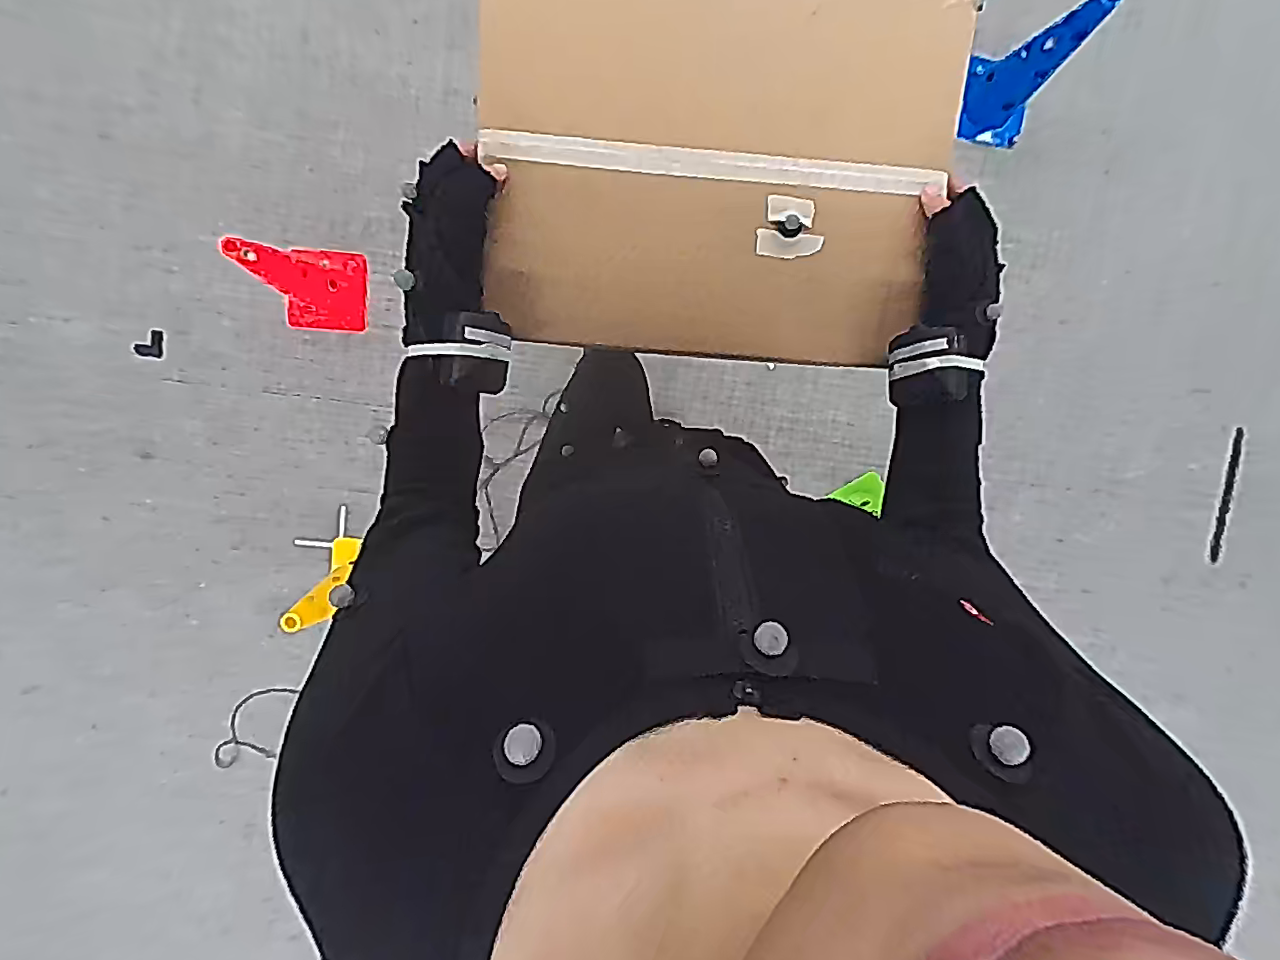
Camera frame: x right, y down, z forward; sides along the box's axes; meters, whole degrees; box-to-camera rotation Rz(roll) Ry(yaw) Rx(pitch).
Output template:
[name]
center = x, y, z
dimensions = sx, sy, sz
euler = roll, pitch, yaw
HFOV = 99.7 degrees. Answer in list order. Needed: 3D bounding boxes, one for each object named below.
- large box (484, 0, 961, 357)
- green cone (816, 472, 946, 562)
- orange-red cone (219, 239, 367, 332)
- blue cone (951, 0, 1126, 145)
[large box]
center = 0.056, -0.310, 0.616
dimensions = 0.408, 0.320, 0.320
euler = 3, 103, -4
[green cone]
center = 0.620, 0.121, 1.330
dimensions = 0.202, 0.368, 0.200
euler = -30, 97, -1
[orange-red cone]
center = -0.797, -0.465, 1.216
dimensions = 0.198, 0.360, 0.199
euler = 5, 97, -2
[blue cone]
center = 0.921, -0.967, 1.248
dimensions = 0.192, 0.380, 0.193
euler = 11, 96, -4
